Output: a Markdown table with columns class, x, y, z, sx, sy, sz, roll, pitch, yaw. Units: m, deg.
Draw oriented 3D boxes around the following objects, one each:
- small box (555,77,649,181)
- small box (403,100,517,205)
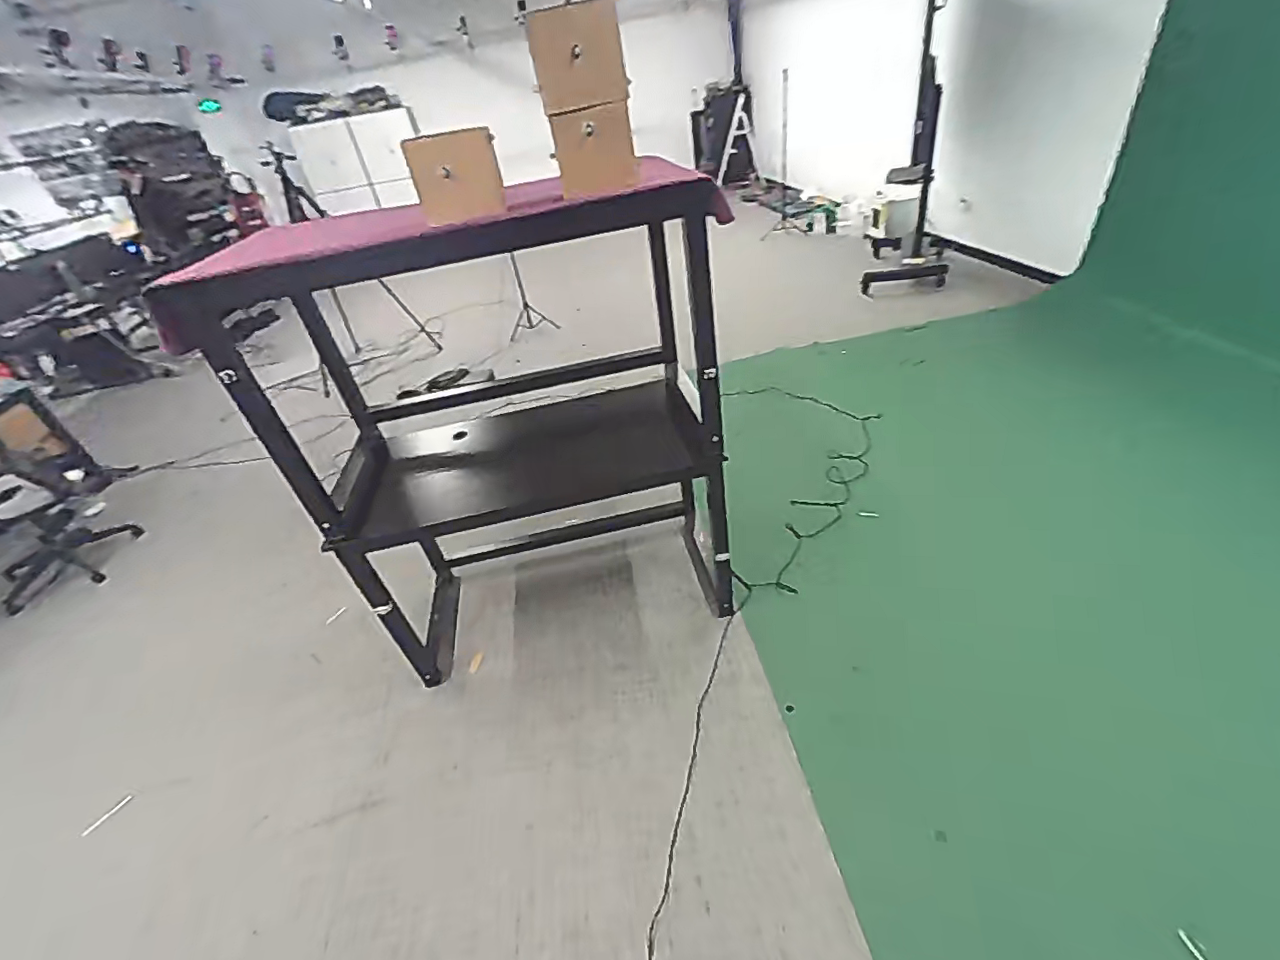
| class | x | y | z | sx | sy | sz | roll | pitch | yaw |
| --- | --- | --- | --- | --- | --- | --- | --- | --- | --- |
| small box | -0.083 | -0.782 | 1.211 | 0.179 | 0.176 | 0.168 | -9 | 36 | 1 |
| small box | -0.385 | -0.718 | 1.188 | 0.179 | 0.176 | 0.168 | -10 | 36 | 0 |
